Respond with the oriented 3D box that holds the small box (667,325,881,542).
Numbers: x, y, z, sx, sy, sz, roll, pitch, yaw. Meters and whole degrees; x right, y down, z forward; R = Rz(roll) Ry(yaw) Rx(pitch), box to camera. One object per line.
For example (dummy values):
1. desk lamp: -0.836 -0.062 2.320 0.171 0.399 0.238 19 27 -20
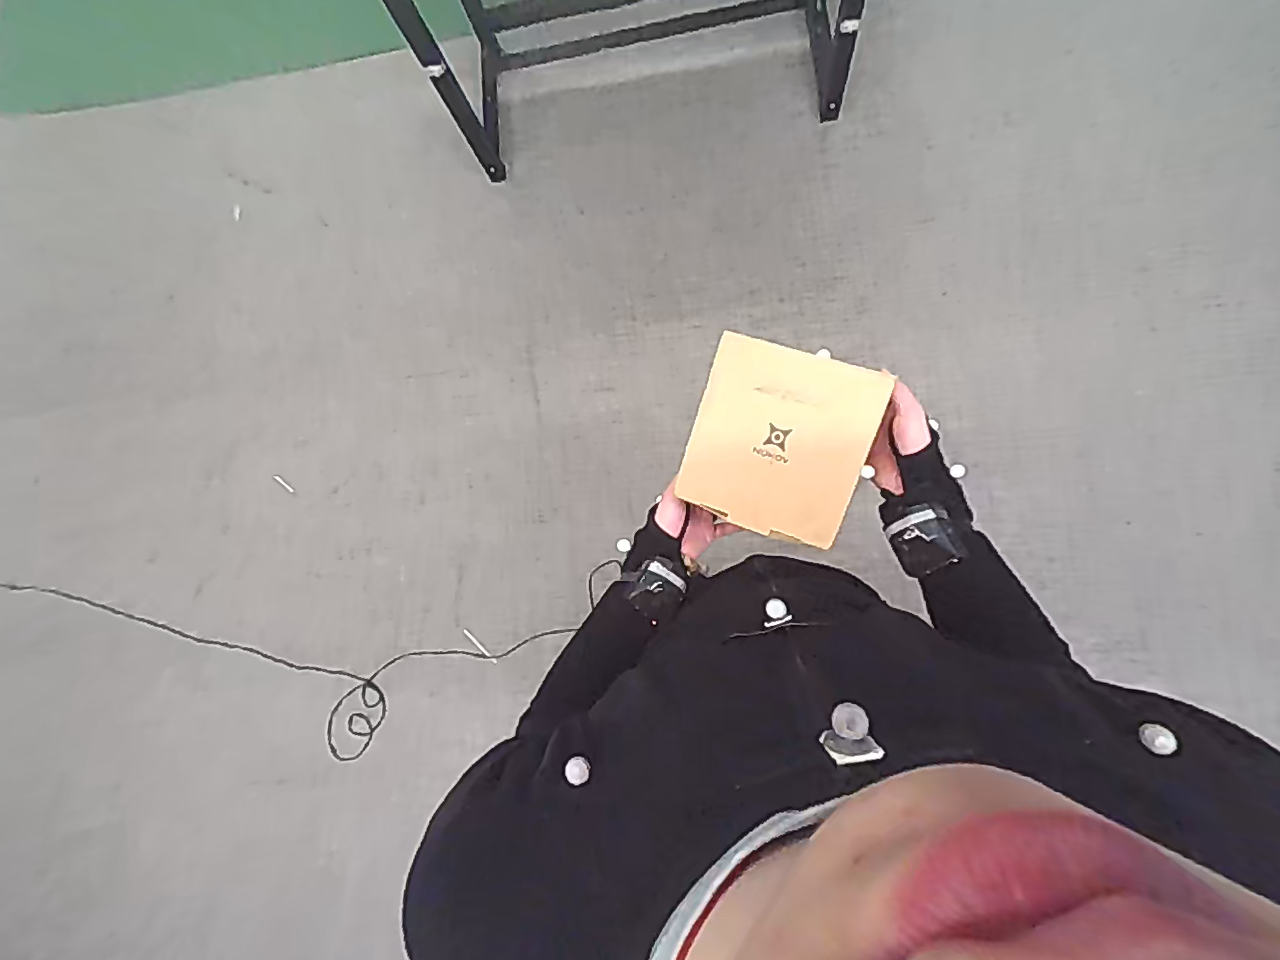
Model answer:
1. small box: 0.148 -0.055 0.603 0.168 0.176 0.179 19 102 13
